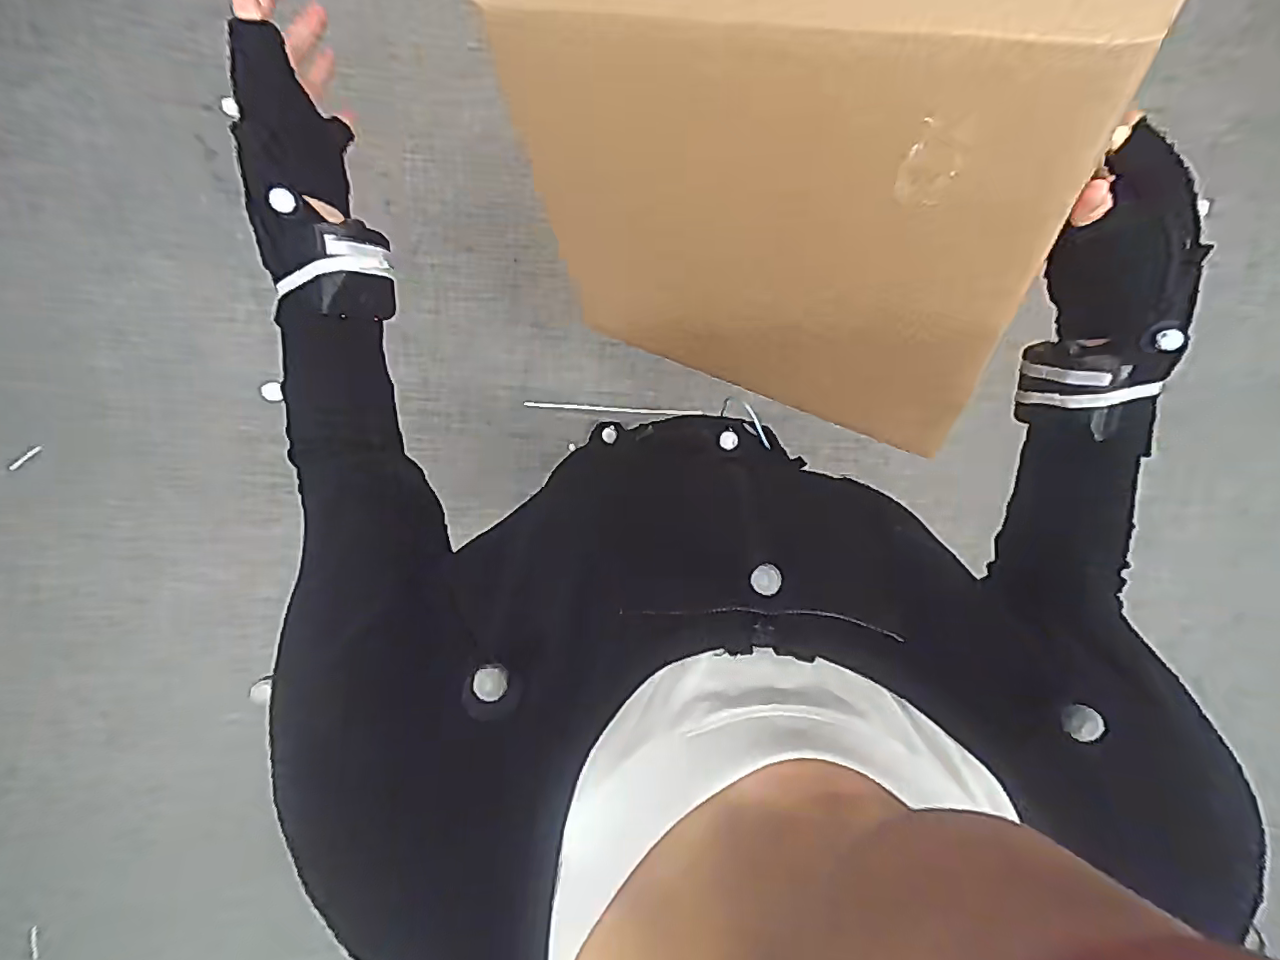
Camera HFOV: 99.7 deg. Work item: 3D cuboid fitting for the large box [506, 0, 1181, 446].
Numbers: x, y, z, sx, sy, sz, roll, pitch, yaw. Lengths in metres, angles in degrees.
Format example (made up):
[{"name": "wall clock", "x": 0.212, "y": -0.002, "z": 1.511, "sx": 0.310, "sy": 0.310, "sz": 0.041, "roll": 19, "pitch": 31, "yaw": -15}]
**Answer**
[{"name": "large box", "x": 0.165, "y": -0.296, "z": 0.492, "sx": 0.408, "sy": 0.320, "sz": 0.320, "roll": 29, "pitch": 67, "yaw": 25}]
